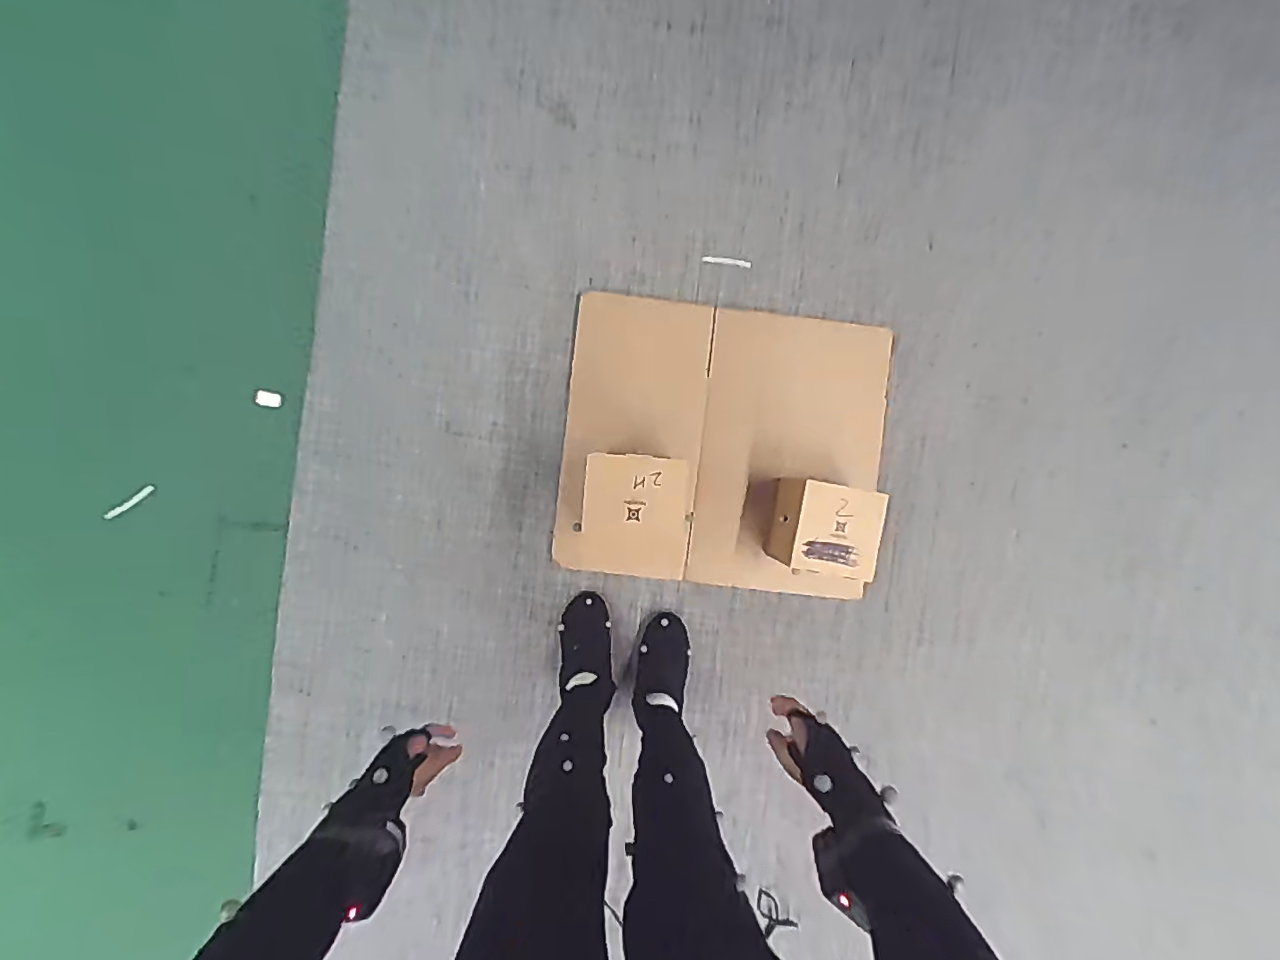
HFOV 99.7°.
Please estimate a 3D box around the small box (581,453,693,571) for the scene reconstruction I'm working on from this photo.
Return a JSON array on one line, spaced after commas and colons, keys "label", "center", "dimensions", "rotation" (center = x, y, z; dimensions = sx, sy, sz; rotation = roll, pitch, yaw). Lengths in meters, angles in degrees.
[{"label": "small box", "center": [-0.006, 0.050, 0.935], "dimensions": [0.168, 0.176, 0.179], "rotation": [5, 90, -2]}]
